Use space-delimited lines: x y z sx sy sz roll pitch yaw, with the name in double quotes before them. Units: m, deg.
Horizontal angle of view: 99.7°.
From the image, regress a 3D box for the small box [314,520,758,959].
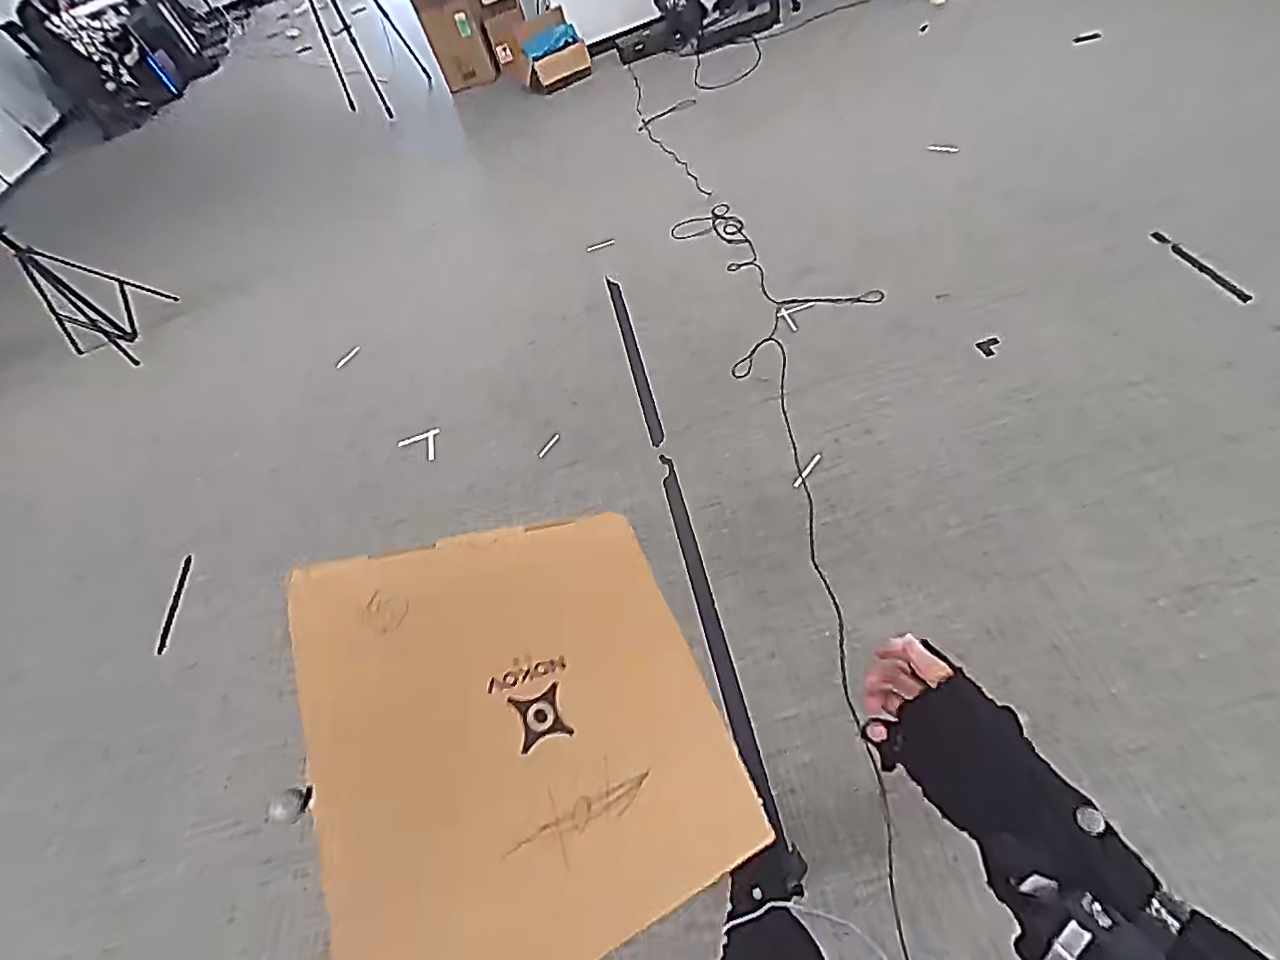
"small box" -0.077 0.147 0.299 0.168 0.176 0.179 -7 58 -34
